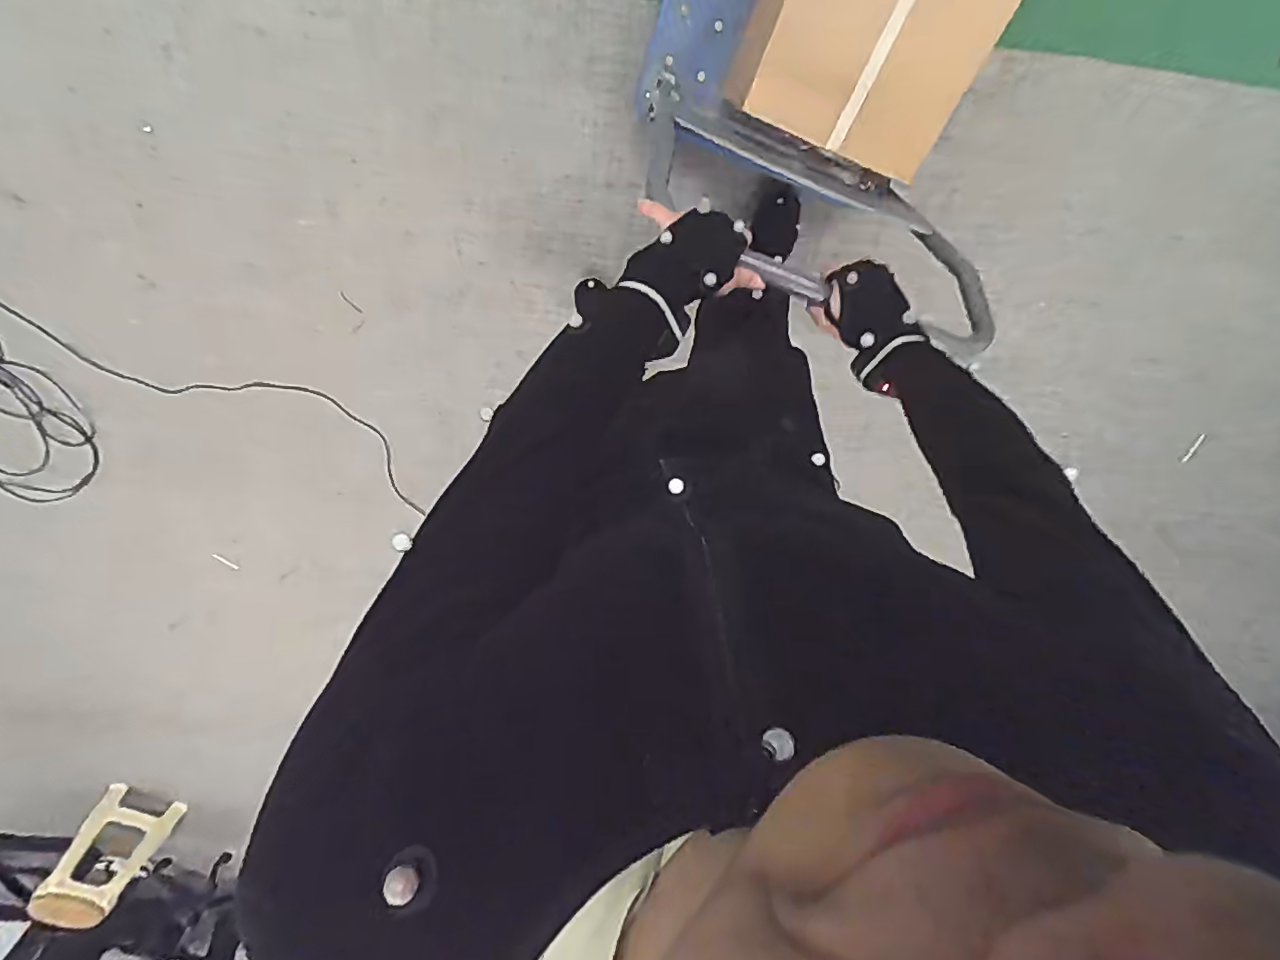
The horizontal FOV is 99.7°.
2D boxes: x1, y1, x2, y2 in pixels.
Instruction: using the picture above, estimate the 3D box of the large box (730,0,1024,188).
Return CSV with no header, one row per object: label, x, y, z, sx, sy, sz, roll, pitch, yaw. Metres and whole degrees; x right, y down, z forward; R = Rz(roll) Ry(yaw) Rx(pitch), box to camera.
large box,0.376,-0.761,0.871,0.320,0.320,0.408,16,128,-12
